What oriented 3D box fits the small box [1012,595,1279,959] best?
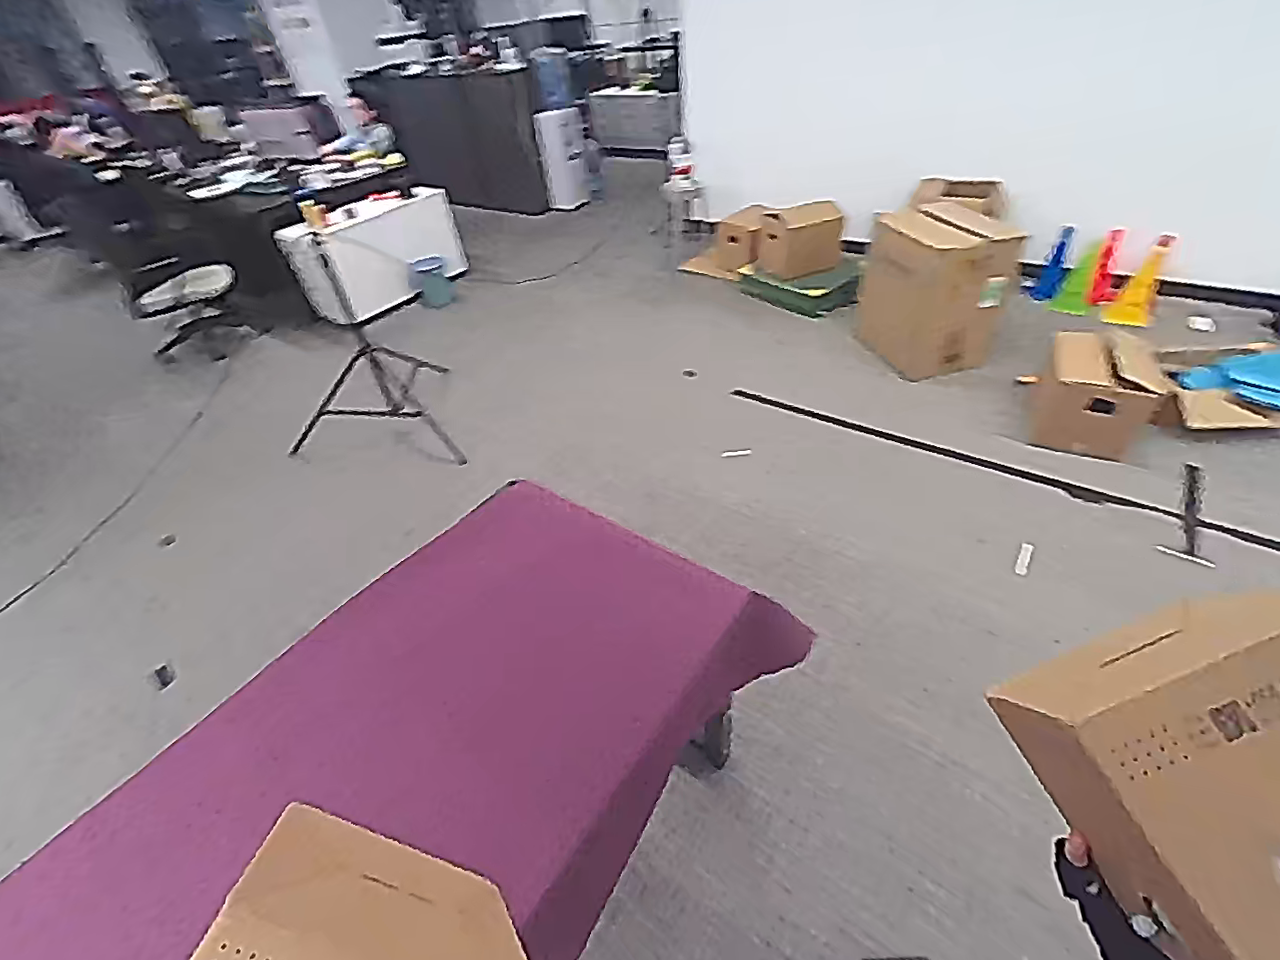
[{"bbox_3d":[0.352,0.168,0.299,0.168,0.179,0.176,-28,68,10],"label":"small box"}]
